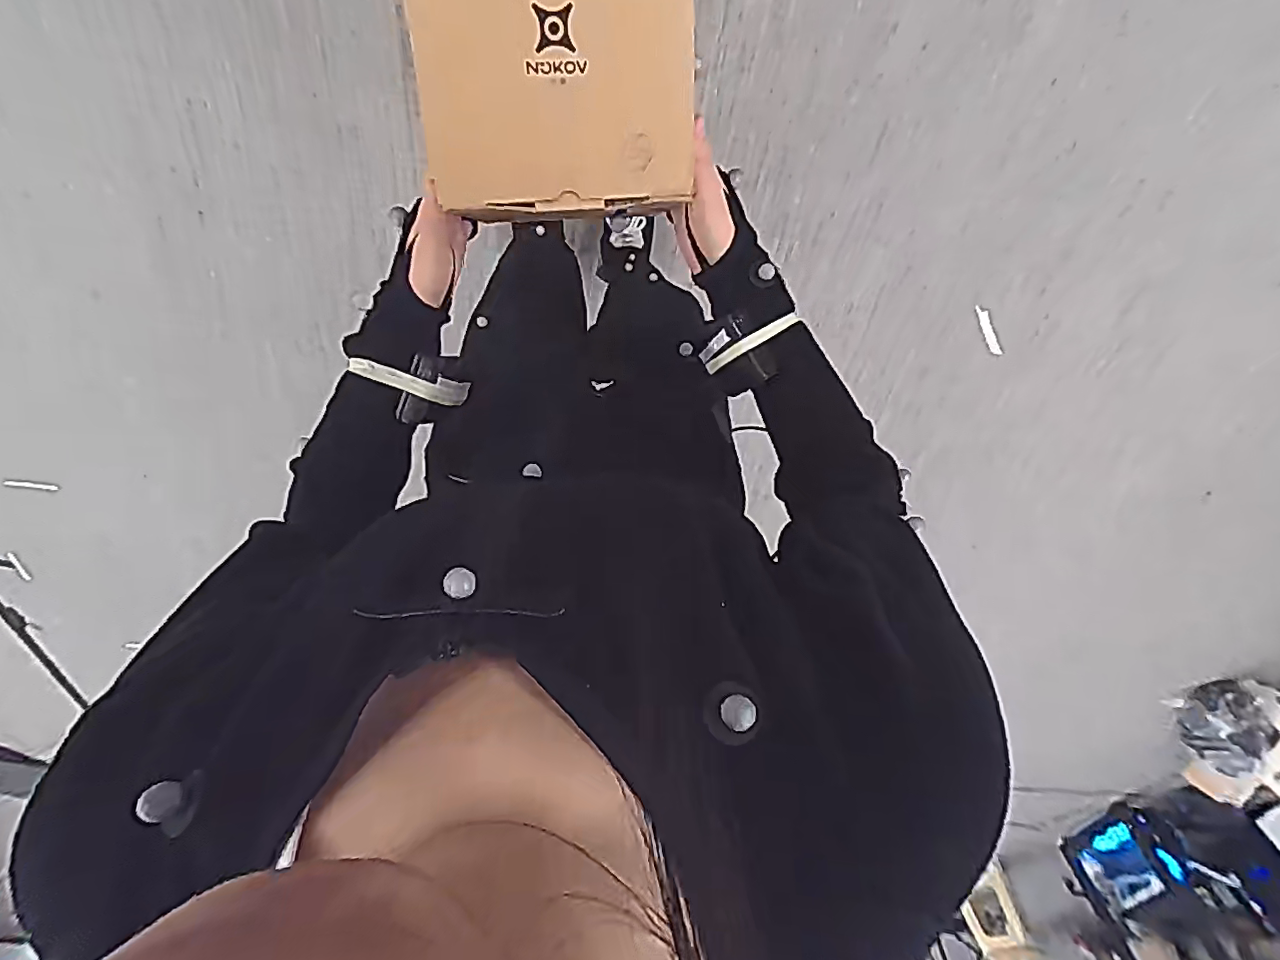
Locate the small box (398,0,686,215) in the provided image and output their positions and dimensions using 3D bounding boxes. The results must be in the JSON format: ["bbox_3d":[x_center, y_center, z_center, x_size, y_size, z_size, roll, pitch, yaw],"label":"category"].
[{"bbox_3d":[-0.062,-0.292,0.387,0.168,0.176,0.179,-6,112,-5],"label":"small box"}]
